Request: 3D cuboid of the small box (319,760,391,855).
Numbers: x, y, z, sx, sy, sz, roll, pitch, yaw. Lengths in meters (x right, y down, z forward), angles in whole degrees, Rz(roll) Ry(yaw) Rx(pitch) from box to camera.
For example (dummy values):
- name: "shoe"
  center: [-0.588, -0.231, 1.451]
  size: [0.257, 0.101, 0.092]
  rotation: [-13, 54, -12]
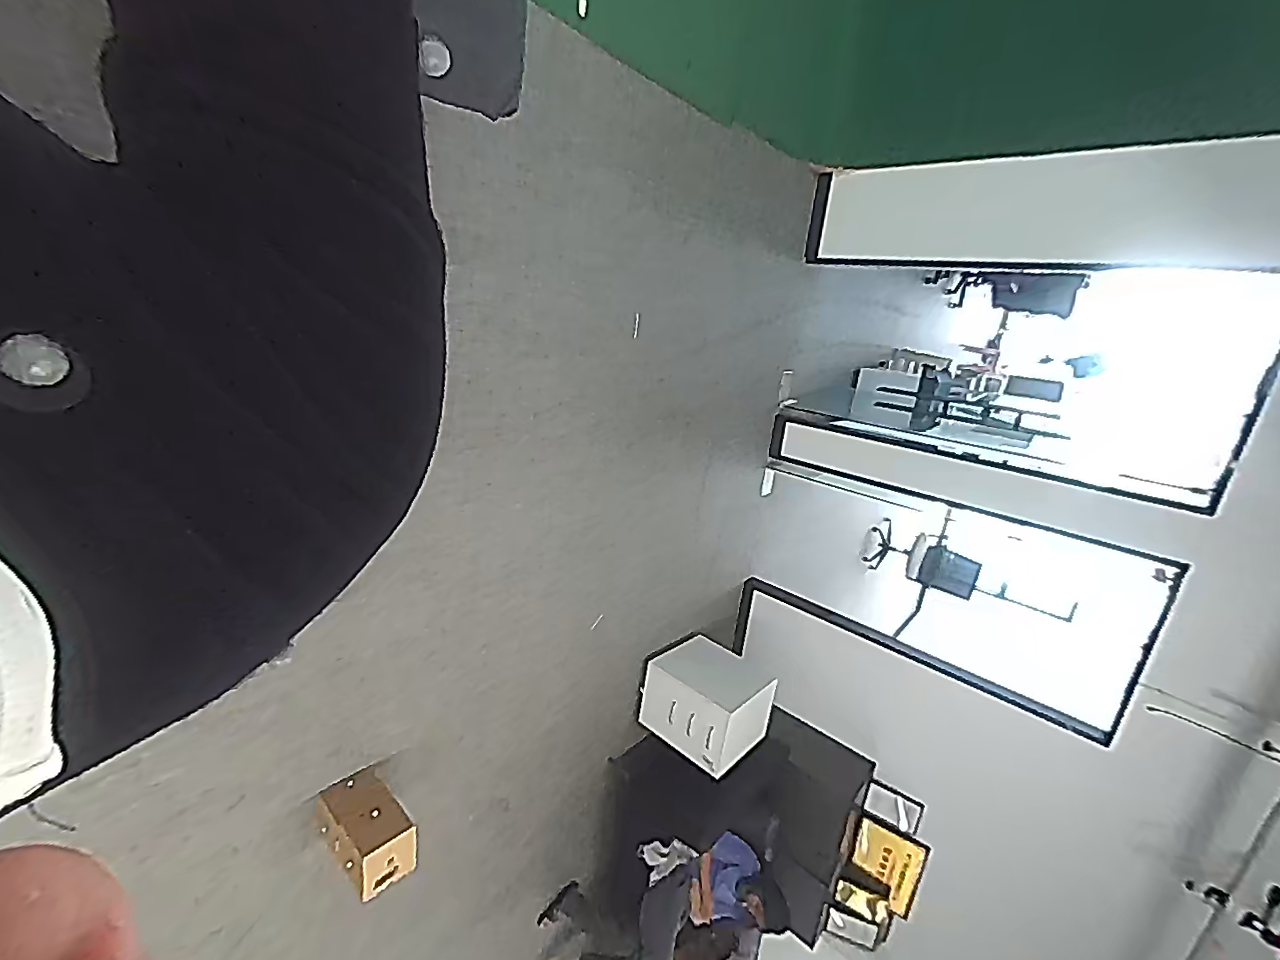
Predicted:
- name: "small box"
  center: [-0.961, 1.092, 1.816]
  size: [0.179, 0.176, 0.168]
  rotation: [-11, 115, -49]

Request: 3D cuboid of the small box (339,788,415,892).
- name: "small box"
  center: [-0.836, 1.131, 1.715]
  size: [0.168, 0.176, 0.179]
  rotation: [-13, 116, -49]
